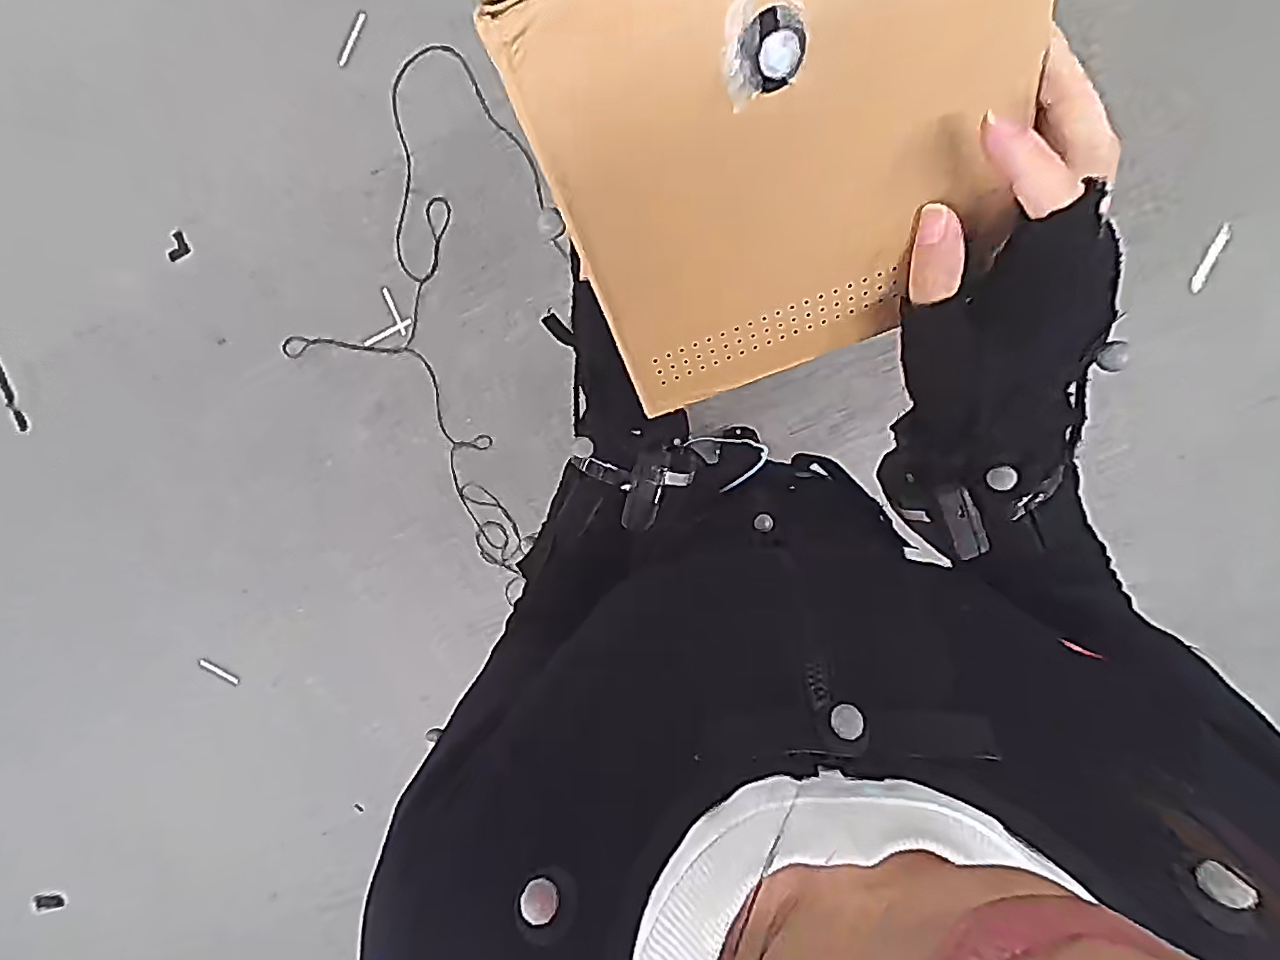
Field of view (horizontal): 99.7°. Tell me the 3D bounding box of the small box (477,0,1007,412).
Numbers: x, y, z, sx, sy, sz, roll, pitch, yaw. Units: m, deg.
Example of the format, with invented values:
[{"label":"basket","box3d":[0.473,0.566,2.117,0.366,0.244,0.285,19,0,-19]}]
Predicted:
[{"label":"small box","box3d":[0.048,-0.160,0.263,0.179,0.168,0.176,-19,134,8]}]
